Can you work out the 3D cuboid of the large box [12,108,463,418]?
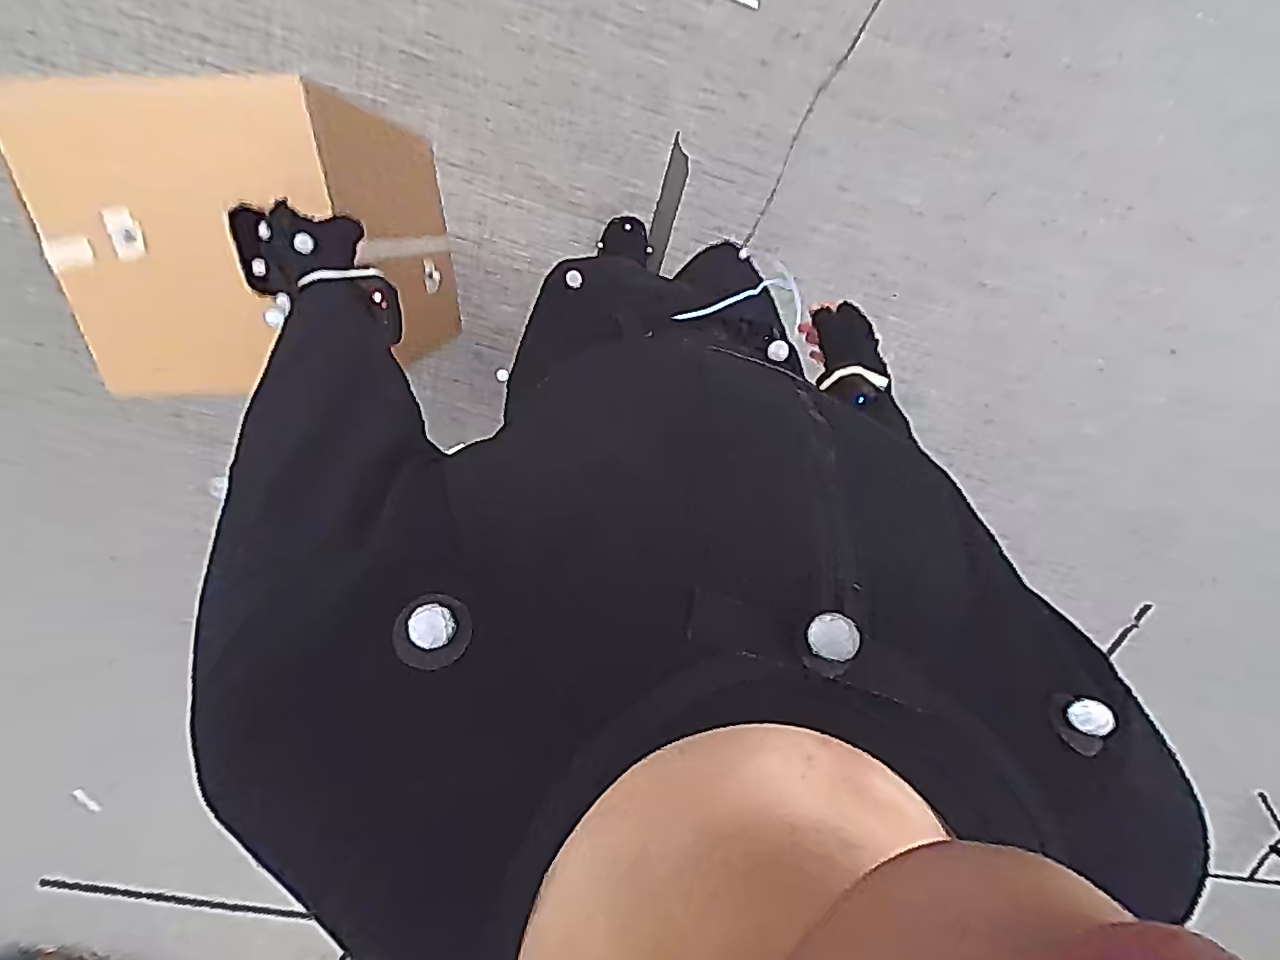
[{"bbox_3d":[-0.485,-0.305,0.778,0.320,0.408,0.320,-4,114,-2],"label":"large box"}]
